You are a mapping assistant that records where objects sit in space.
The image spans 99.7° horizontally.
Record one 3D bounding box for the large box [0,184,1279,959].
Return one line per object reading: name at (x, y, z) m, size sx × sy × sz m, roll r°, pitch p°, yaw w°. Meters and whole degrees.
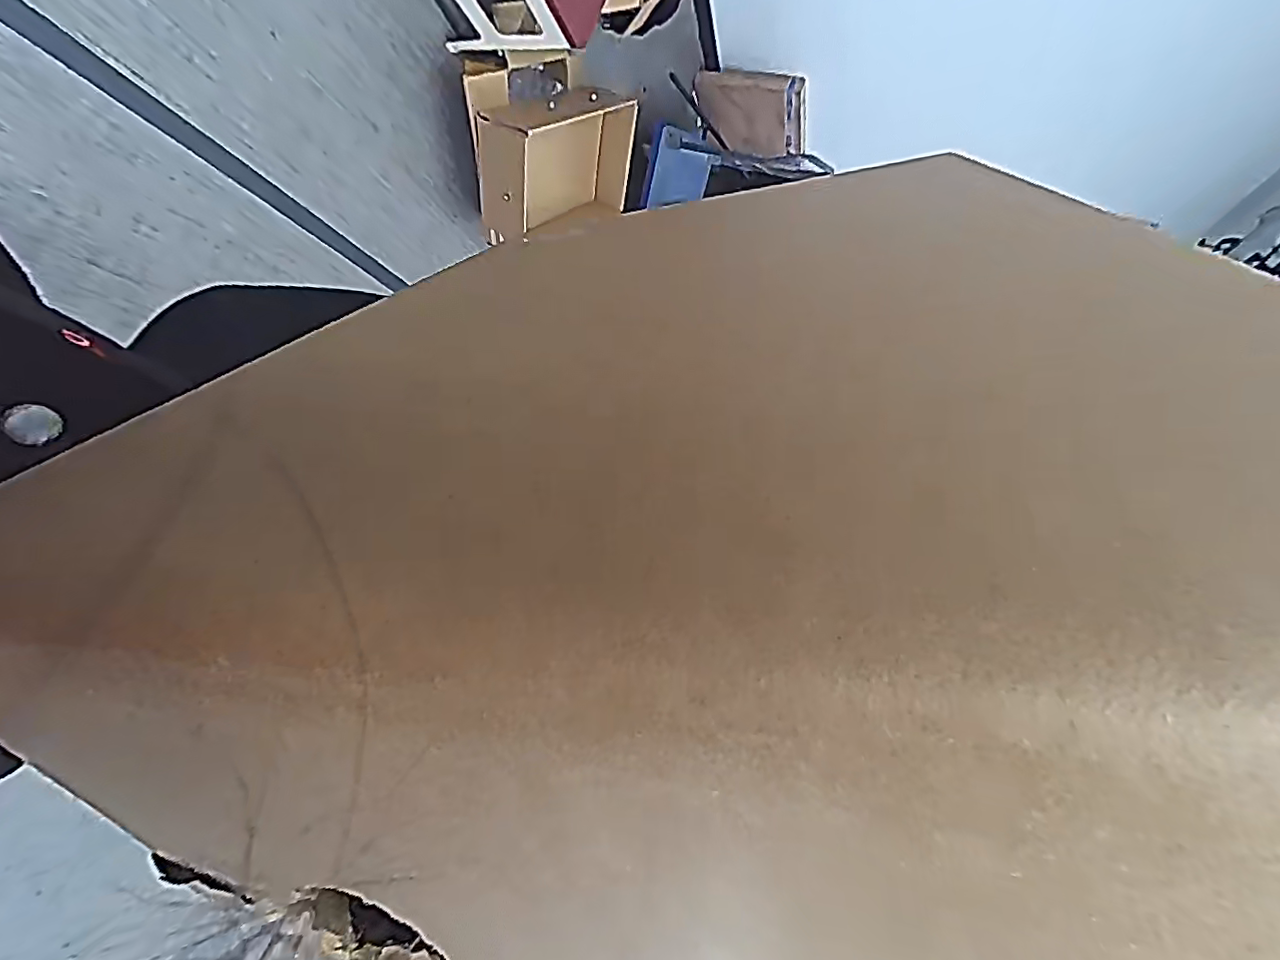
large box at (0.032, 0.038, 0.325) m, size 0.408 × 0.320 × 0.320 m, roll -66°, pitch 151°, yaw -52°
